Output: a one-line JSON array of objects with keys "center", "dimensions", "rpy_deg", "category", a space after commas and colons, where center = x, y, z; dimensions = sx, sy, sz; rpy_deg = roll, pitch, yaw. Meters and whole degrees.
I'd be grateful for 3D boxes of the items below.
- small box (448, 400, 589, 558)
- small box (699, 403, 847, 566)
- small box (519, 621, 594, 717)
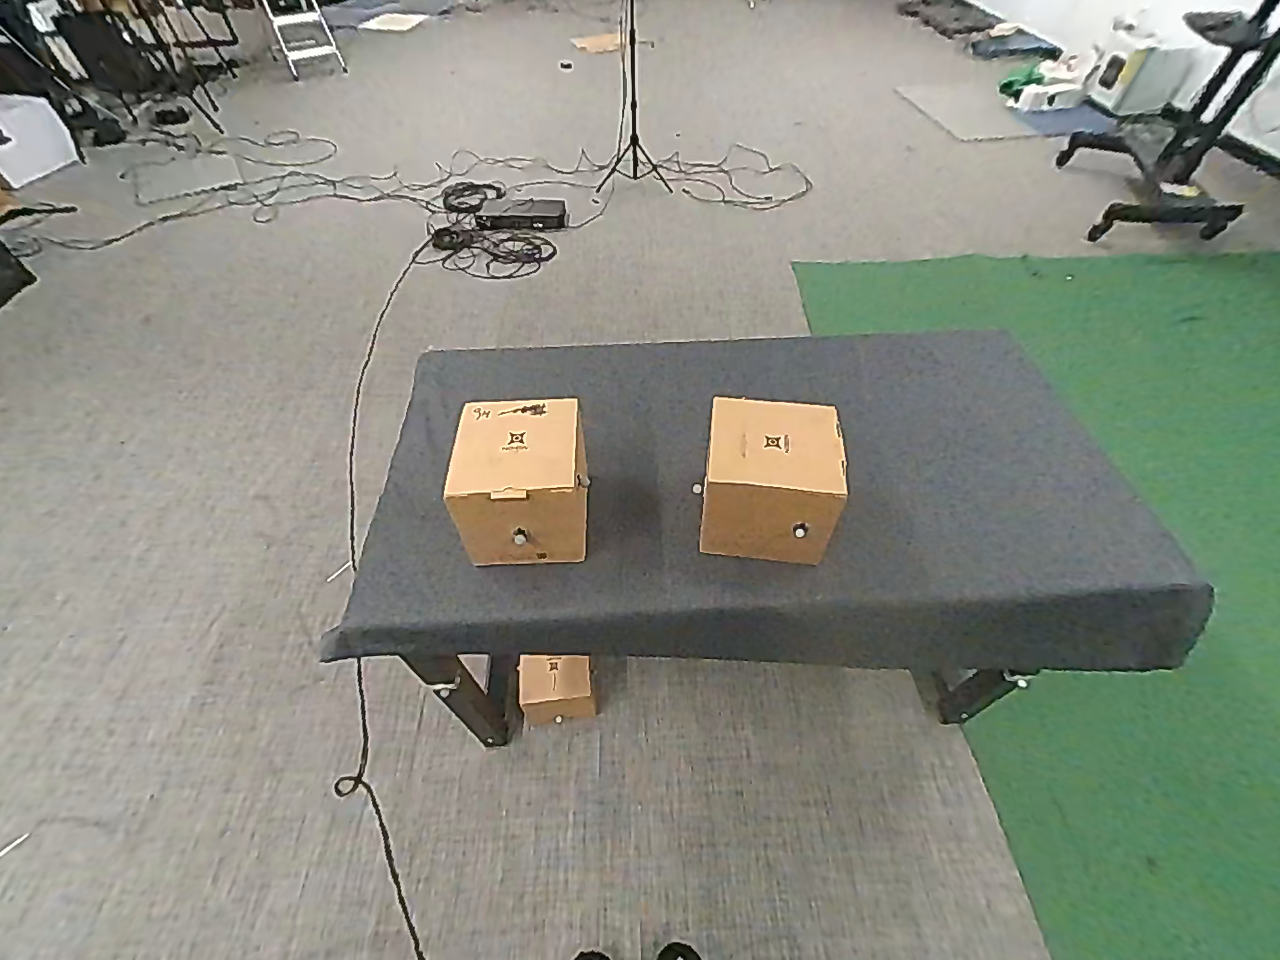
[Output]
[{"center": [-0.163, 0.004, 0.795], "dimensions": [0.168, 0.176, 0.179], "rpy_deg": [-1, 50, -1], "category": "small box"}, {"center": [0.185, 0.010, 0.792], "dimensions": [0.179, 0.176, 0.168], "rpy_deg": [6, 50, 6], "category": "small box"}, {"center": [-0.204, 0.474, 1.354], "dimensions": [0.168, 0.176, 0.179], "rpy_deg": [-5, 52, -3], "category": "small box"}]
